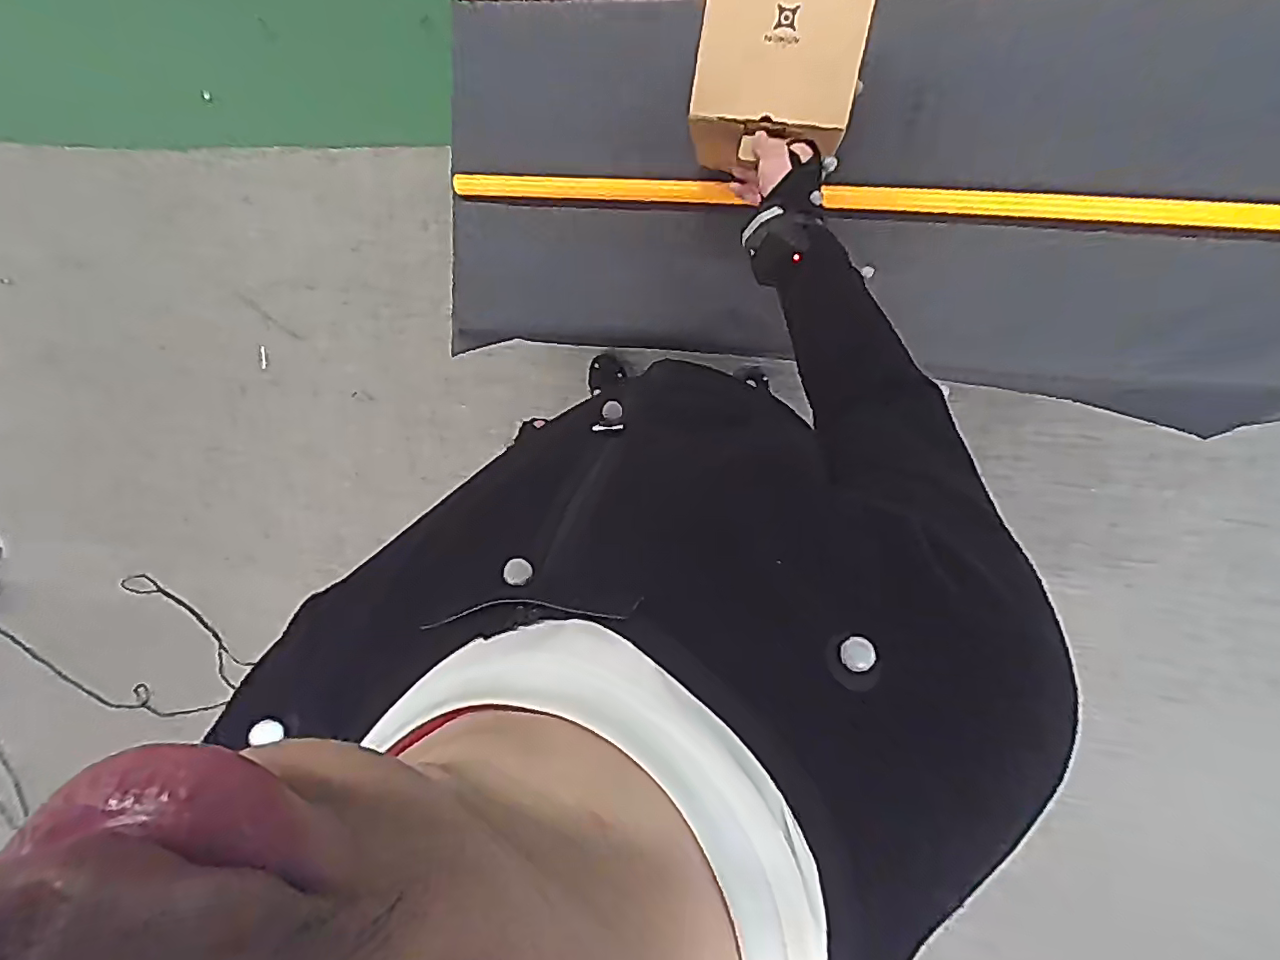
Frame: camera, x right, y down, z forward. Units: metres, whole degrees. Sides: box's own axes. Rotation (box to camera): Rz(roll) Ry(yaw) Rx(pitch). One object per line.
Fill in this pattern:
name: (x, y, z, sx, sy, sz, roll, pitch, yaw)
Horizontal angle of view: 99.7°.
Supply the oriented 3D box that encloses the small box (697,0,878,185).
small box: (0.168, -0.464, 0.631, 0.168, 0.176, 0.179, 9, 103, 10)
